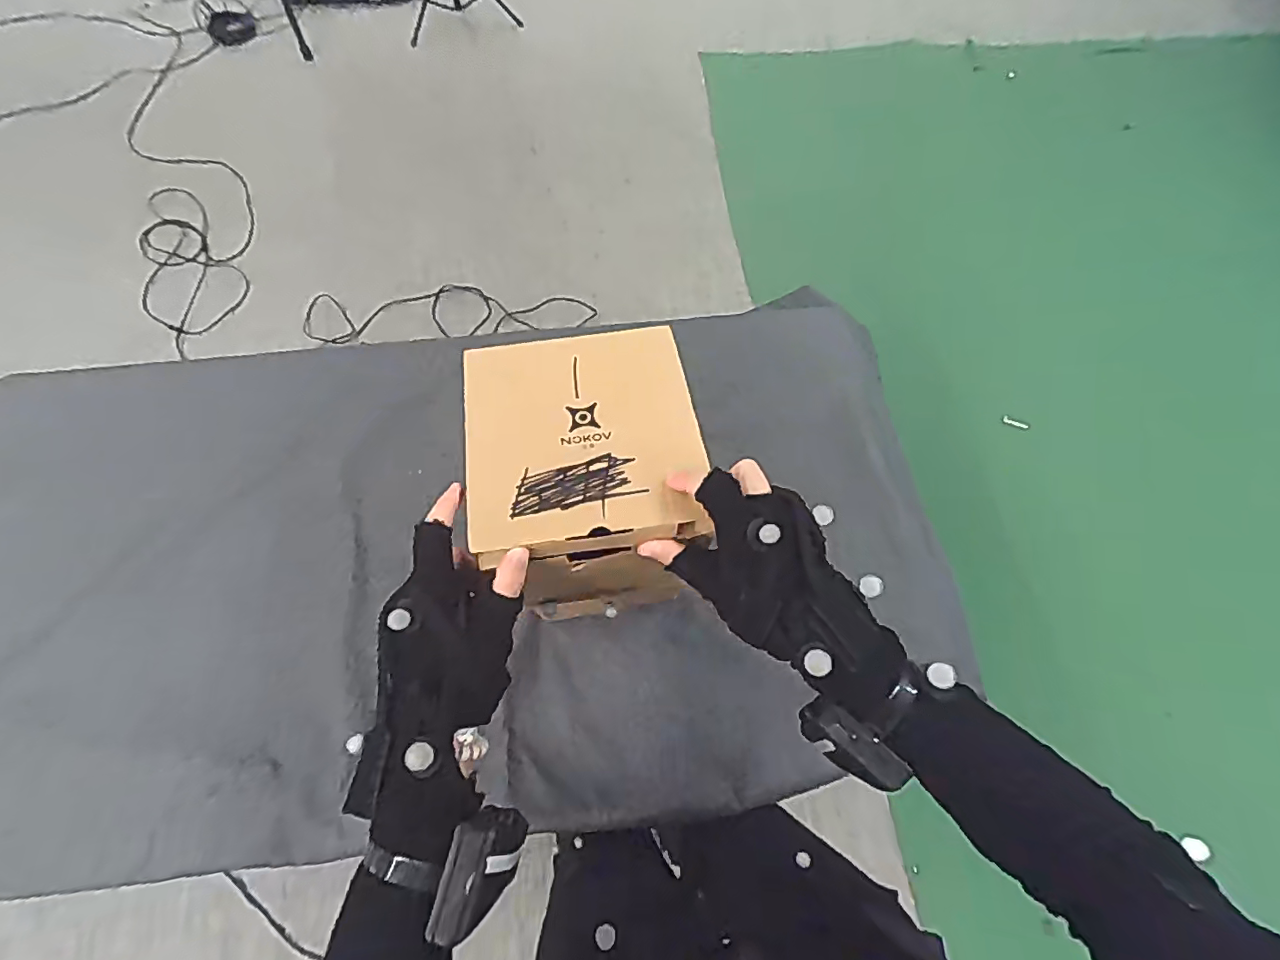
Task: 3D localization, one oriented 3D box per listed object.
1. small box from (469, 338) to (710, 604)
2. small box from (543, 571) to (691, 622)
[{"bbox_3d":[-0.043,0.005,0.473,0.168,0.176,0.179,-8,67,-5],"label":"small box"},{"bbox_3d":[-0.045,0.056,0.631,0.168,0.176,0.179,-9,69,-5],"label":"small box"}]
